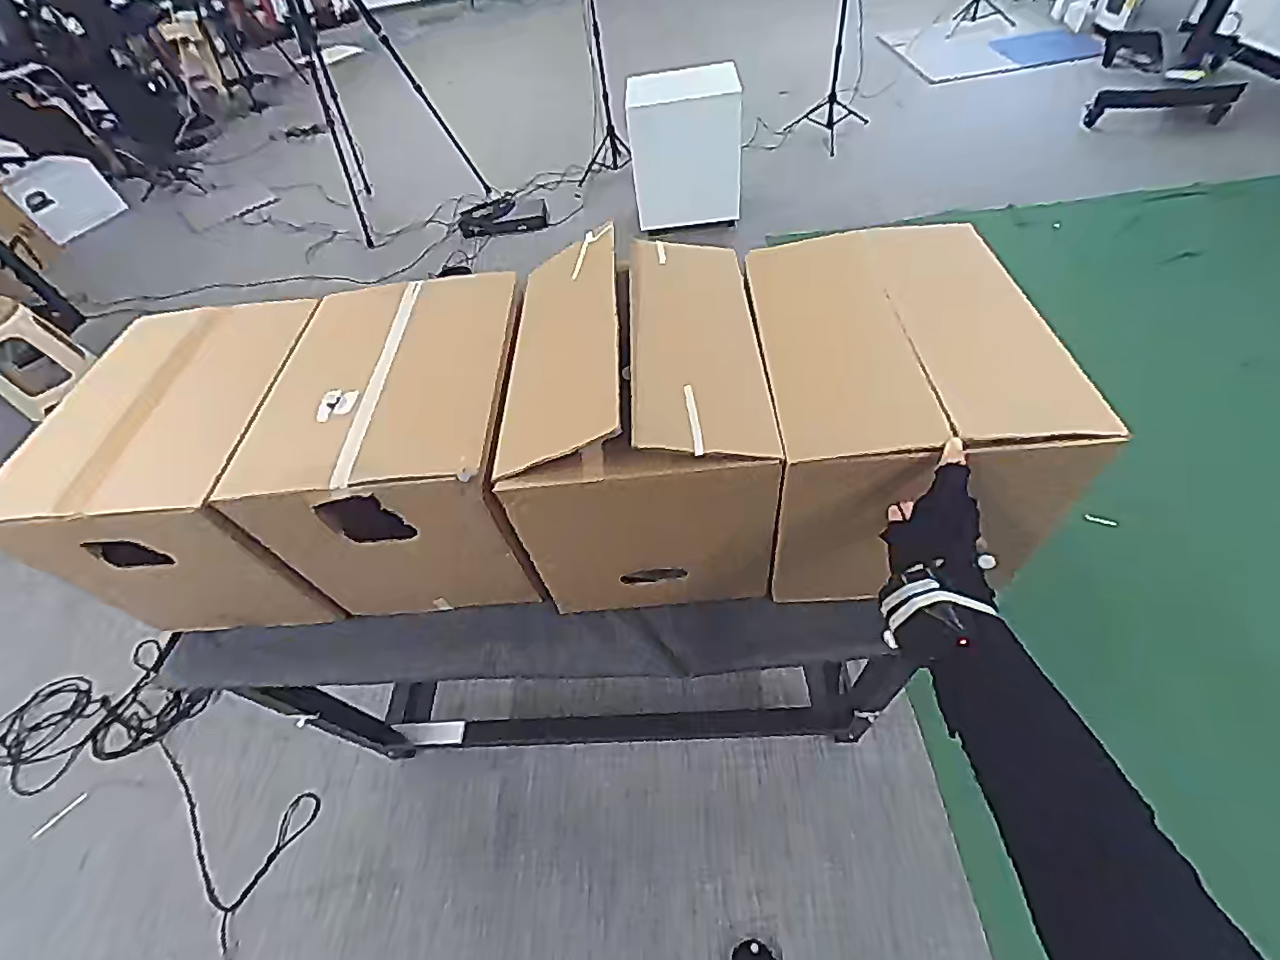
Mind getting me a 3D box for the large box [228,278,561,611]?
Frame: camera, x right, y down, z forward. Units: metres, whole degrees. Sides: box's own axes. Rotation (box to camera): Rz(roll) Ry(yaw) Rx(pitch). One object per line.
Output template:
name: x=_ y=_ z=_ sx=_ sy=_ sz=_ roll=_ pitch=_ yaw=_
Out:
large box: x=-0.311 y=-0.053 z=0.839 sx=0.320 sy=0.320 sz=0.408 roll=-6 pitch=52 yaw=5
